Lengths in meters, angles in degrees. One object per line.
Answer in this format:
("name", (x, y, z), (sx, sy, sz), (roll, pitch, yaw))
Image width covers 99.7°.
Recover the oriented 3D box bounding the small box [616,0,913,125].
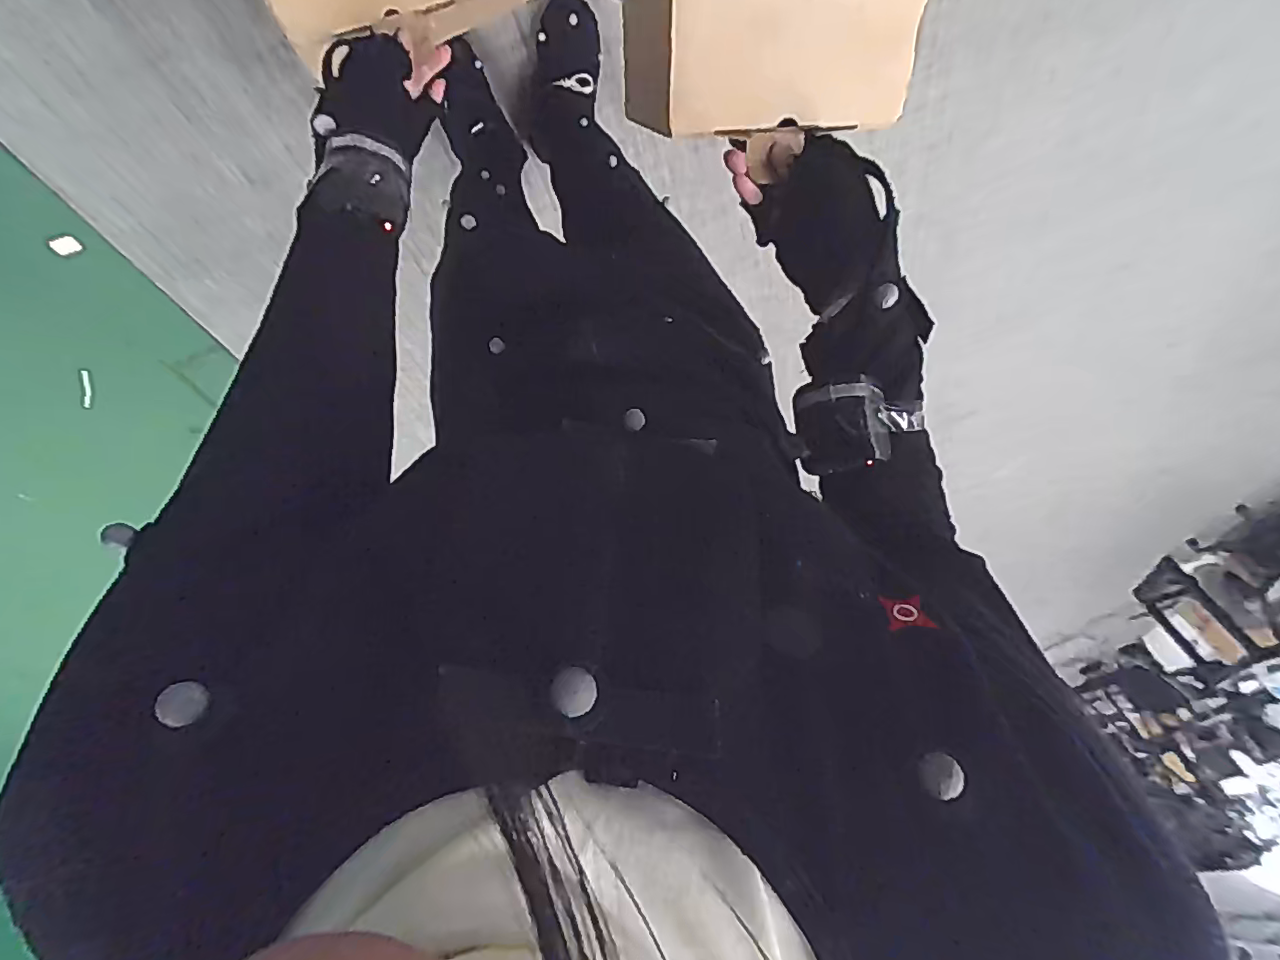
("small box", (0.077, -0.363, 0.373), (0.168, 0.176, 0.179), (-8, 130, -8))
